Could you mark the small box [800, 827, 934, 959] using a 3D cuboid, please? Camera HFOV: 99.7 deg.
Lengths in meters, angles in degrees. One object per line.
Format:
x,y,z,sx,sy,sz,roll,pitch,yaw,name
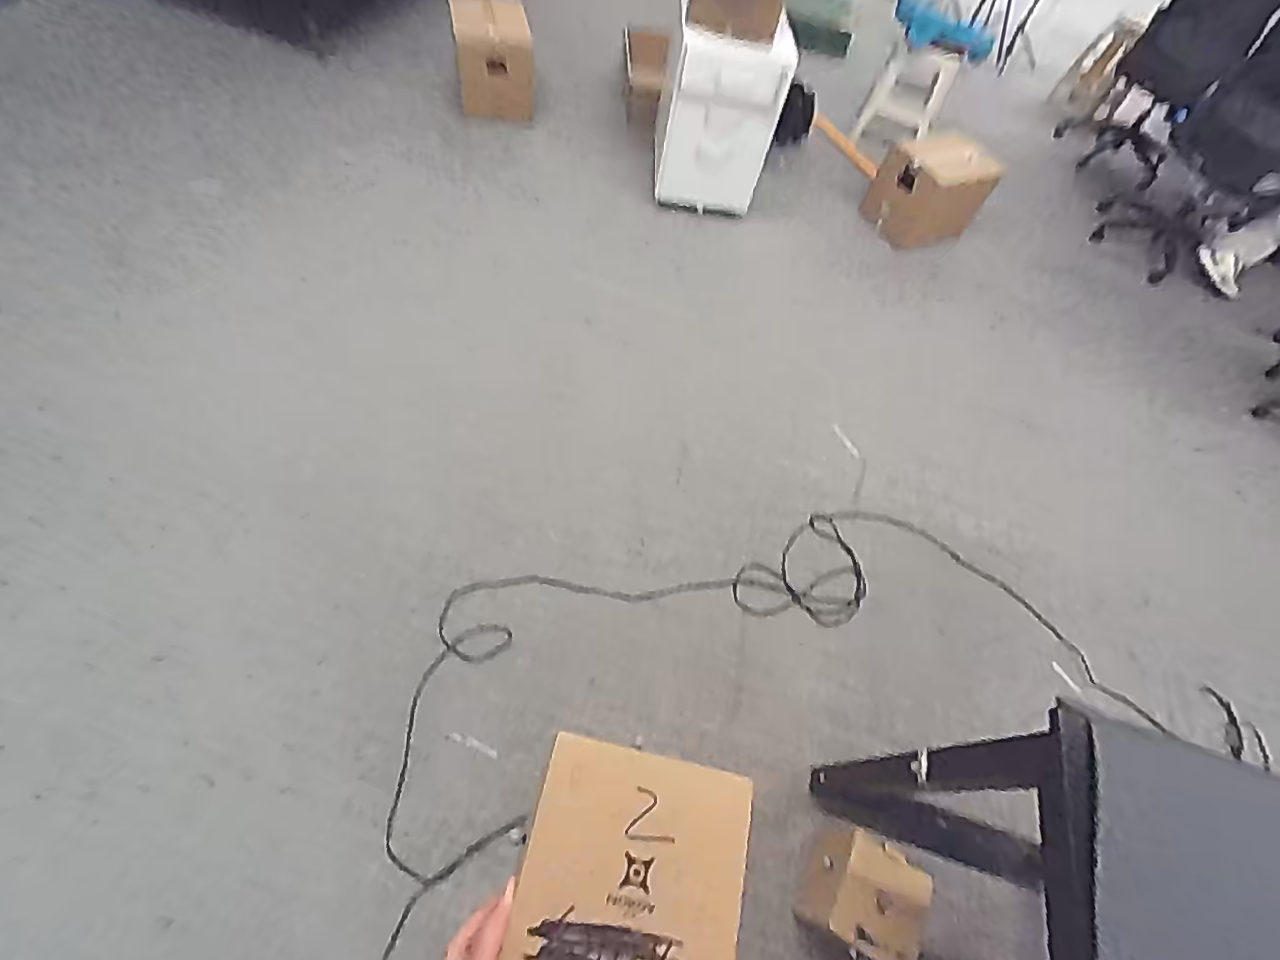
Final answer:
0.442,0.824,1.073,0.168,0.176,0.179,30,58,9,small box
